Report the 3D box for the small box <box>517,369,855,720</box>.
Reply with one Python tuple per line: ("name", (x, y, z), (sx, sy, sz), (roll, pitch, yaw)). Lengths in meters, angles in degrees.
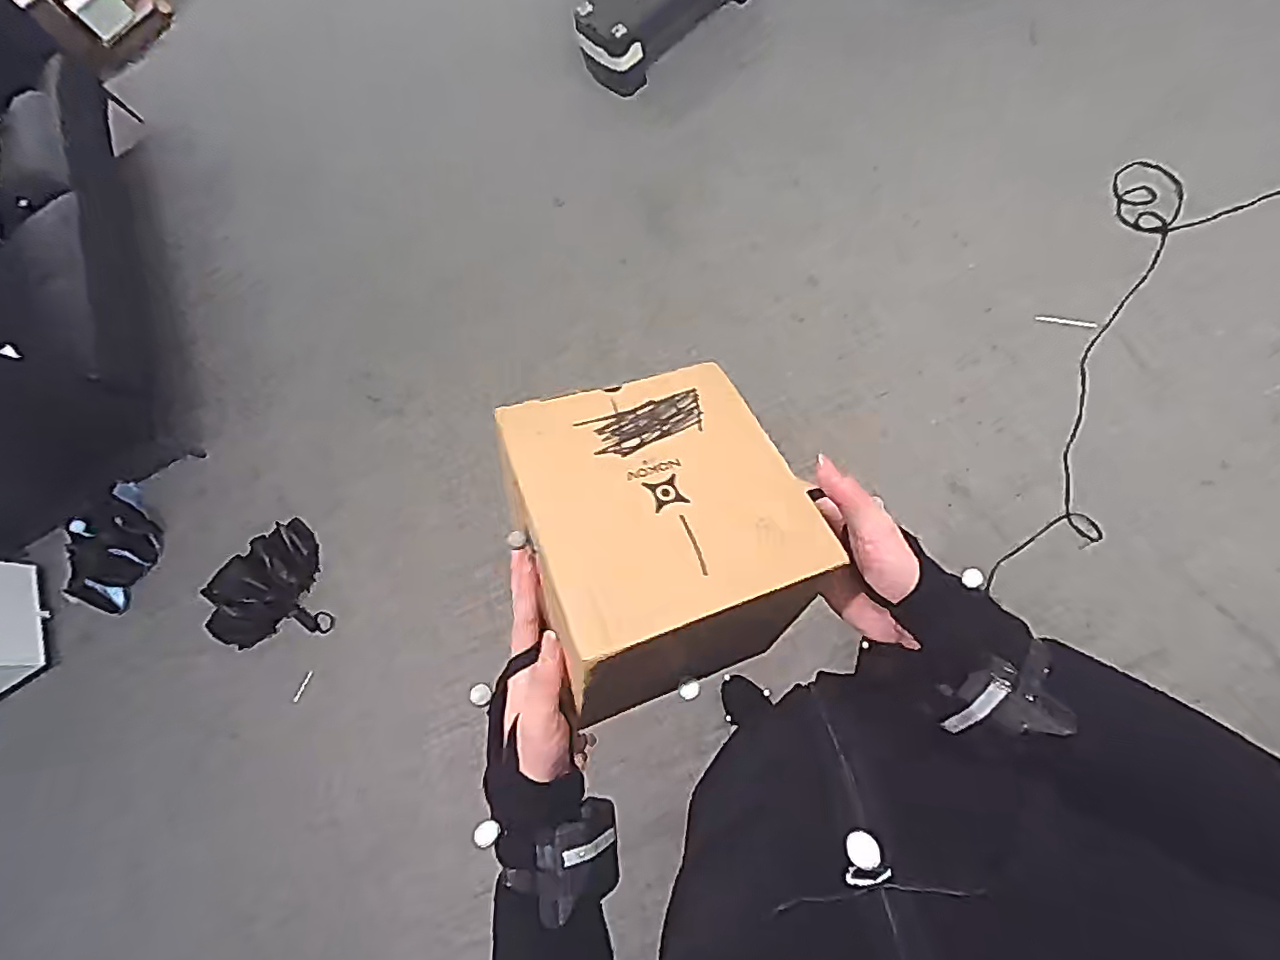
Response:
("small box", (0.012, 0.049, 0.401), (0.168, 0.176, 0.179), (-15, 59, -18))
